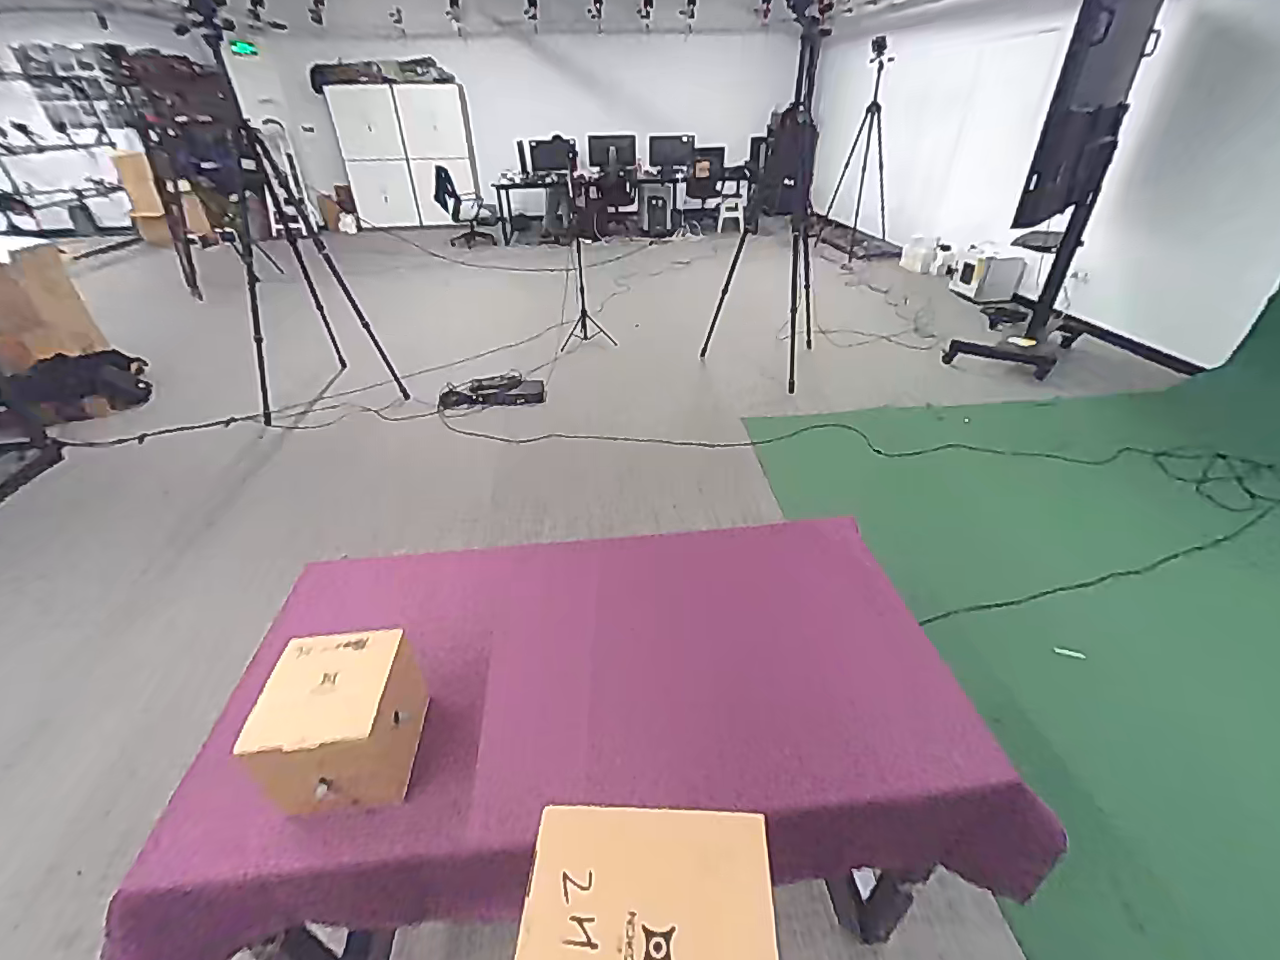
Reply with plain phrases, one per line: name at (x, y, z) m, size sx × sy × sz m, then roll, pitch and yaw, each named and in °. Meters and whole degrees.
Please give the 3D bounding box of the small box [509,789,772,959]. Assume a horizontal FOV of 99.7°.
small box at (0.007, 0.365, 0.418) m, size 0.179 × 0.176 × 0.168 m, roll -2°, pitch 37°, yaw 7°

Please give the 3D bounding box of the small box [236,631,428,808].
small box at (-0.423, 0.349, 0.783) m, size 0.168 × 0.176 × 0.179 m, roll -4°, pitch 35°, yaw -4°
